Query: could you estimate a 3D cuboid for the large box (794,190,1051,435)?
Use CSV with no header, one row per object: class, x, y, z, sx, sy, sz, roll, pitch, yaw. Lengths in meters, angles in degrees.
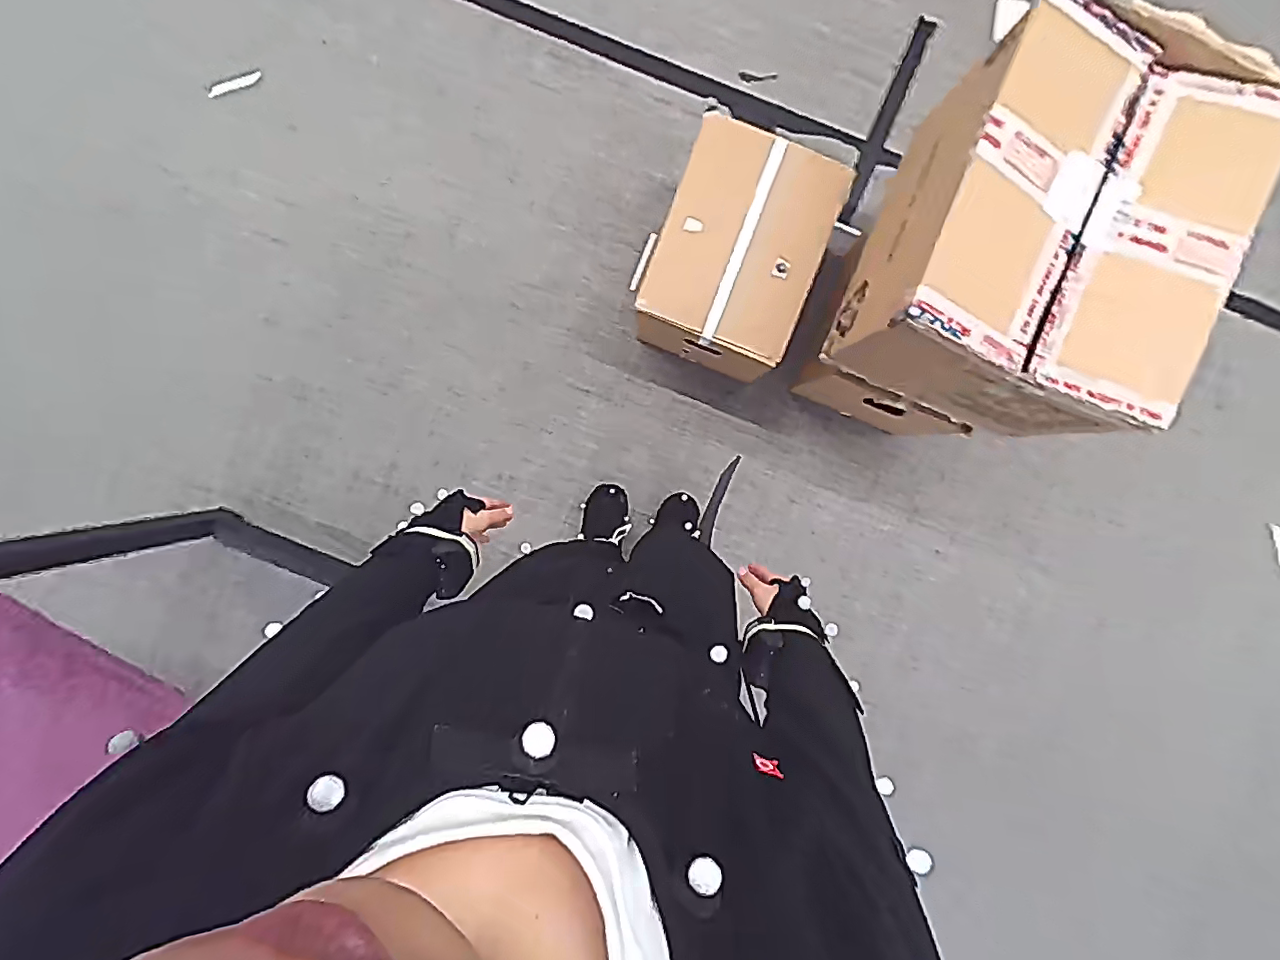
large box,0.598,-0.341,1.215,0.320,0.320,0.408,21,94,-2
